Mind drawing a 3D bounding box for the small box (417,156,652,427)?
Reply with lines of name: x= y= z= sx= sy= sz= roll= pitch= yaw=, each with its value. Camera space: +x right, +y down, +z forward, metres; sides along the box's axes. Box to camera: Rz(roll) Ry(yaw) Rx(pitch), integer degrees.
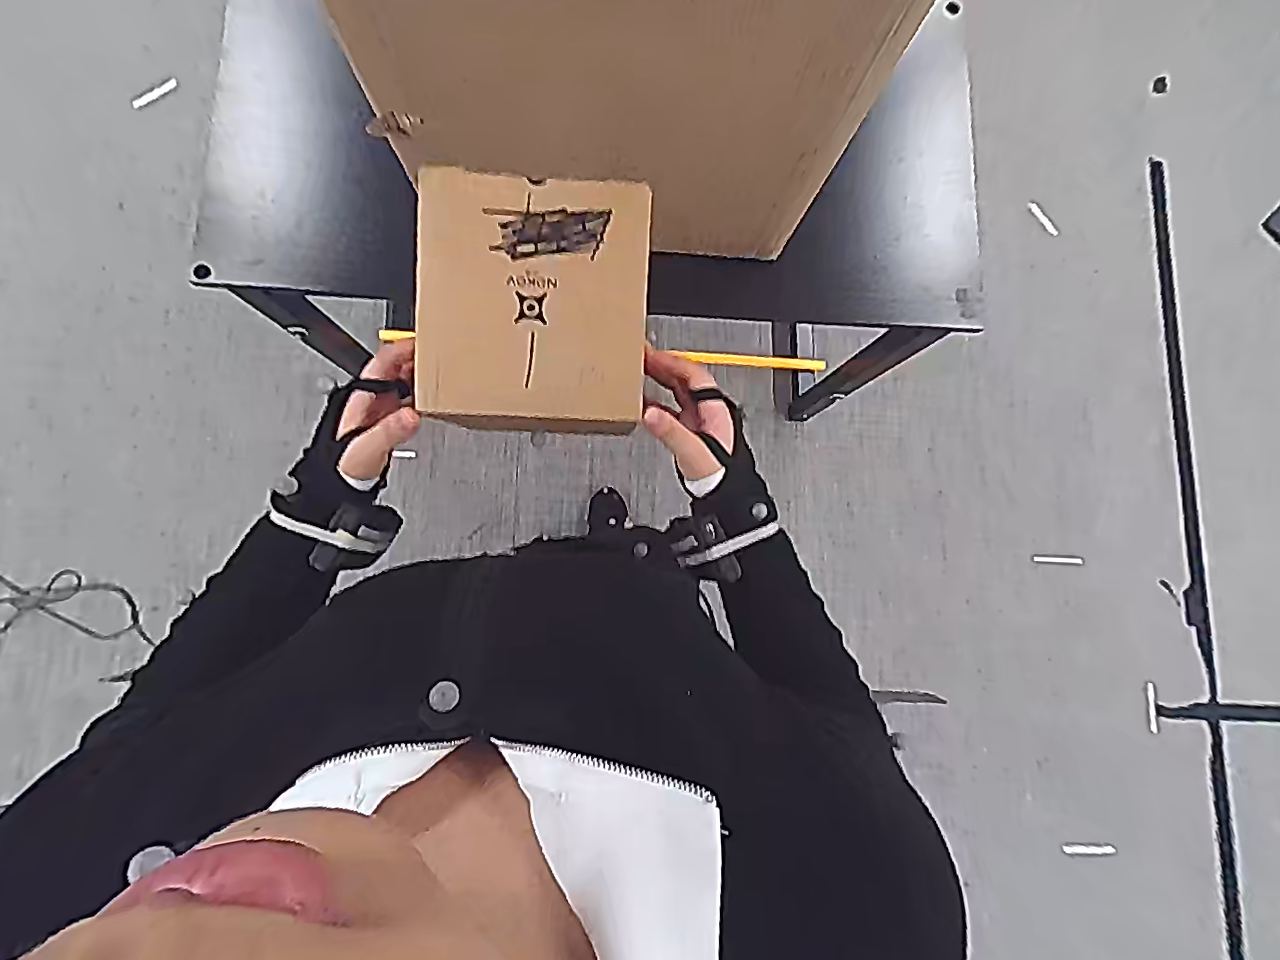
small box: x=-0.083 y=-0.144 z=0.473 sx=0.168 sy=0.176 sz=0.179 roll=2 pitch=91 yaw=-4
